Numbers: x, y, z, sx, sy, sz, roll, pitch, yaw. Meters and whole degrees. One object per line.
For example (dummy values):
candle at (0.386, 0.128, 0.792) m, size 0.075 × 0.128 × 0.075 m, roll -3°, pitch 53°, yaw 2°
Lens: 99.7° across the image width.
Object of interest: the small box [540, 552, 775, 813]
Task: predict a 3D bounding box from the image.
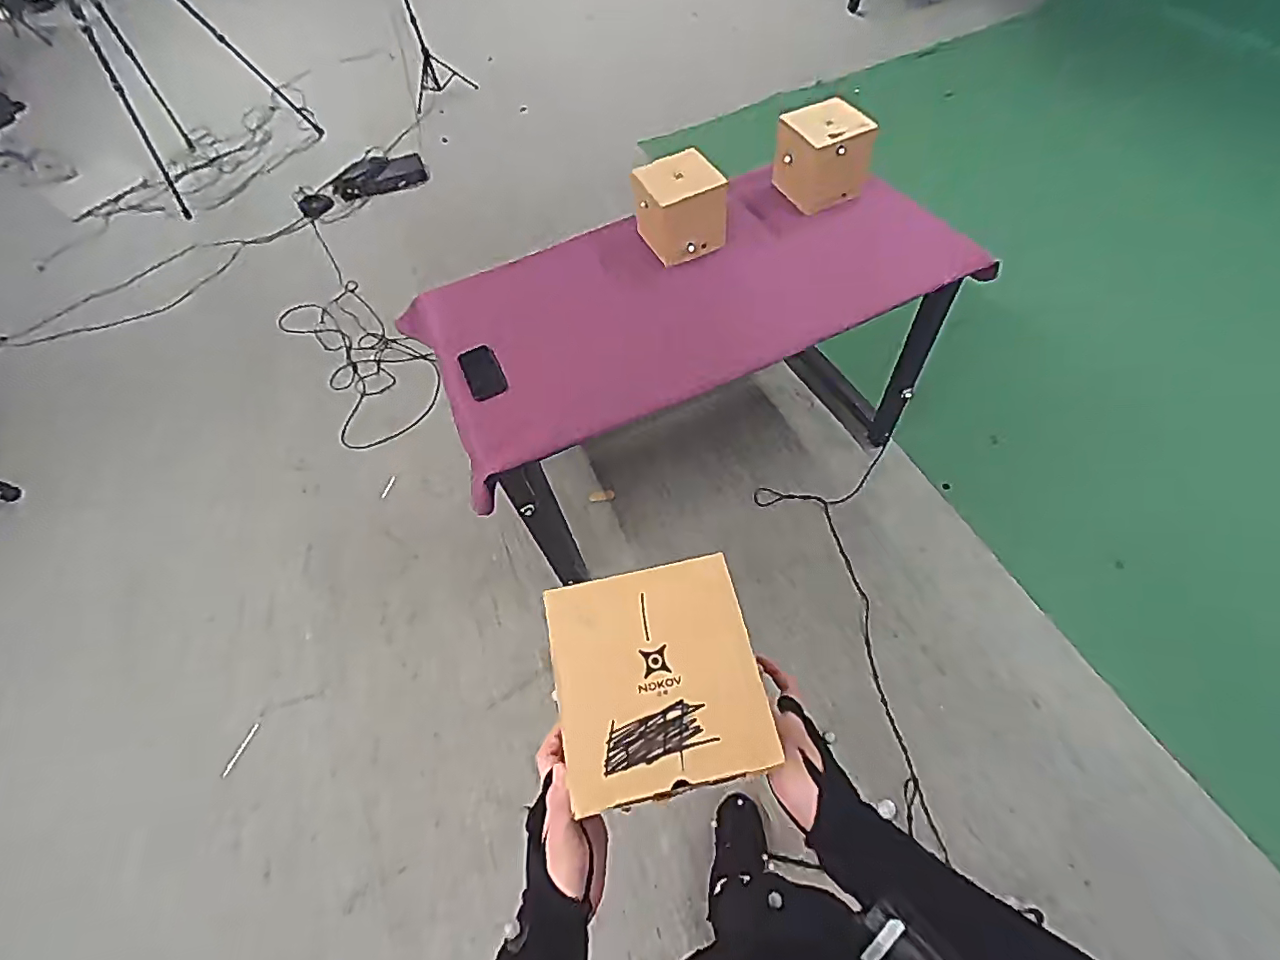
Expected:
small box at (0.012, 0.190, 0.513) m, size 0.168 × 0.176 × 0.179 m, roll -12°, pitch 63°, yaw -4°

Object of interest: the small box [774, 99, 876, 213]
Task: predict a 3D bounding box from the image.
small box at (0.448, -0.803, 1.346) m, size 0.168 × 0.176 × 0.179 m, roll -24°, pitch 57°, yaw -5°

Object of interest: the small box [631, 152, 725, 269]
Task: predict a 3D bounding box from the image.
small box at (0.092, -0.646, 1.305) m, size 0.168 × 0.176 × 0.179 m, roll -24°, pitch 59°, yaw -6°
